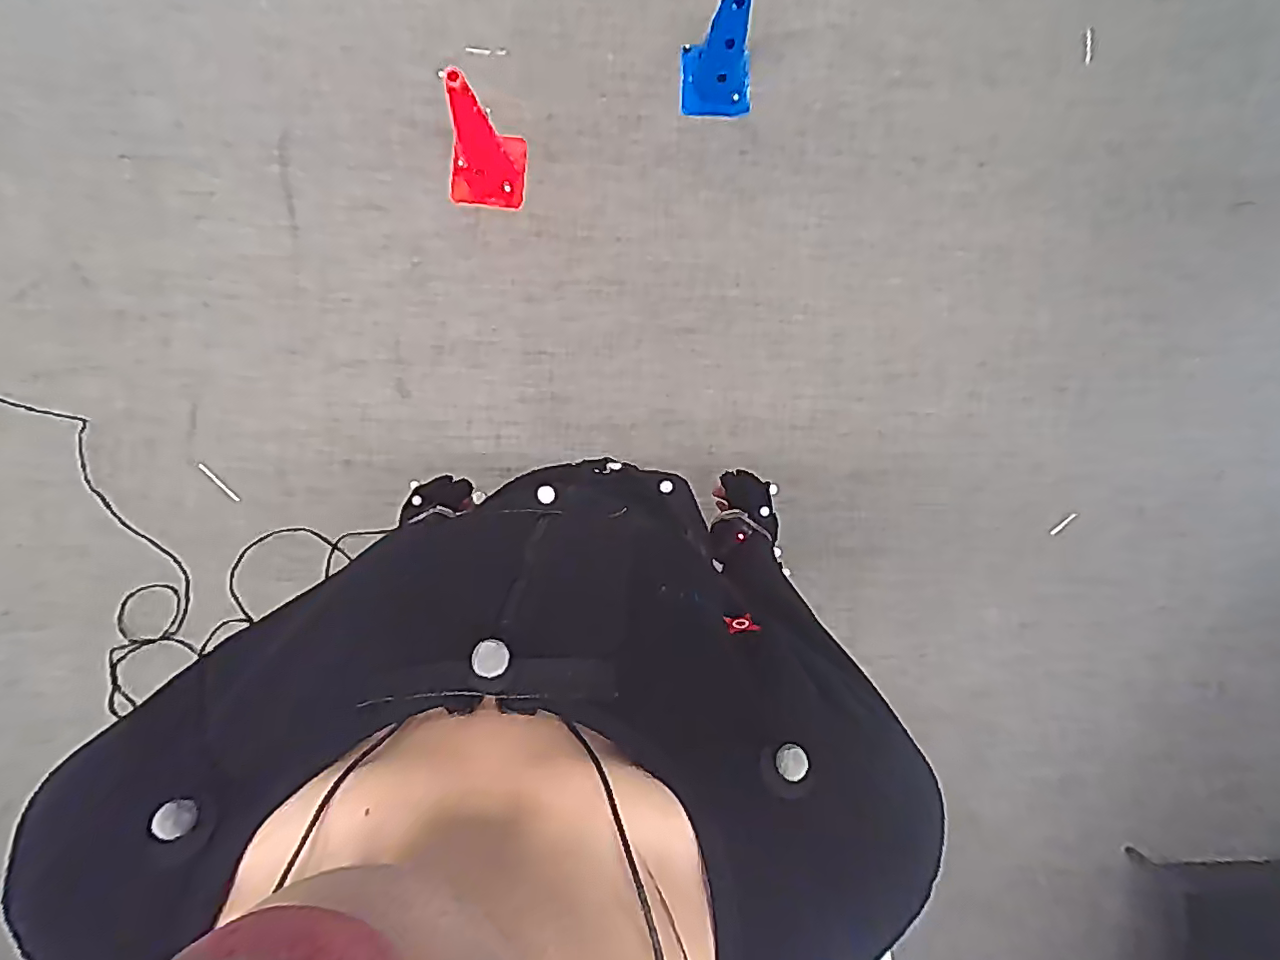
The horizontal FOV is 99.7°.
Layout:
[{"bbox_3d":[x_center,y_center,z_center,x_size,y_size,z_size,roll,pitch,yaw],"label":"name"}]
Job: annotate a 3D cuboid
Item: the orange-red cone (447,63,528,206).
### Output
[{"bbox_3d":[-0.404,-0.864,1.316,0.198,0.360,0.199,6,89,-4],"label":"orange-red cone"}]
